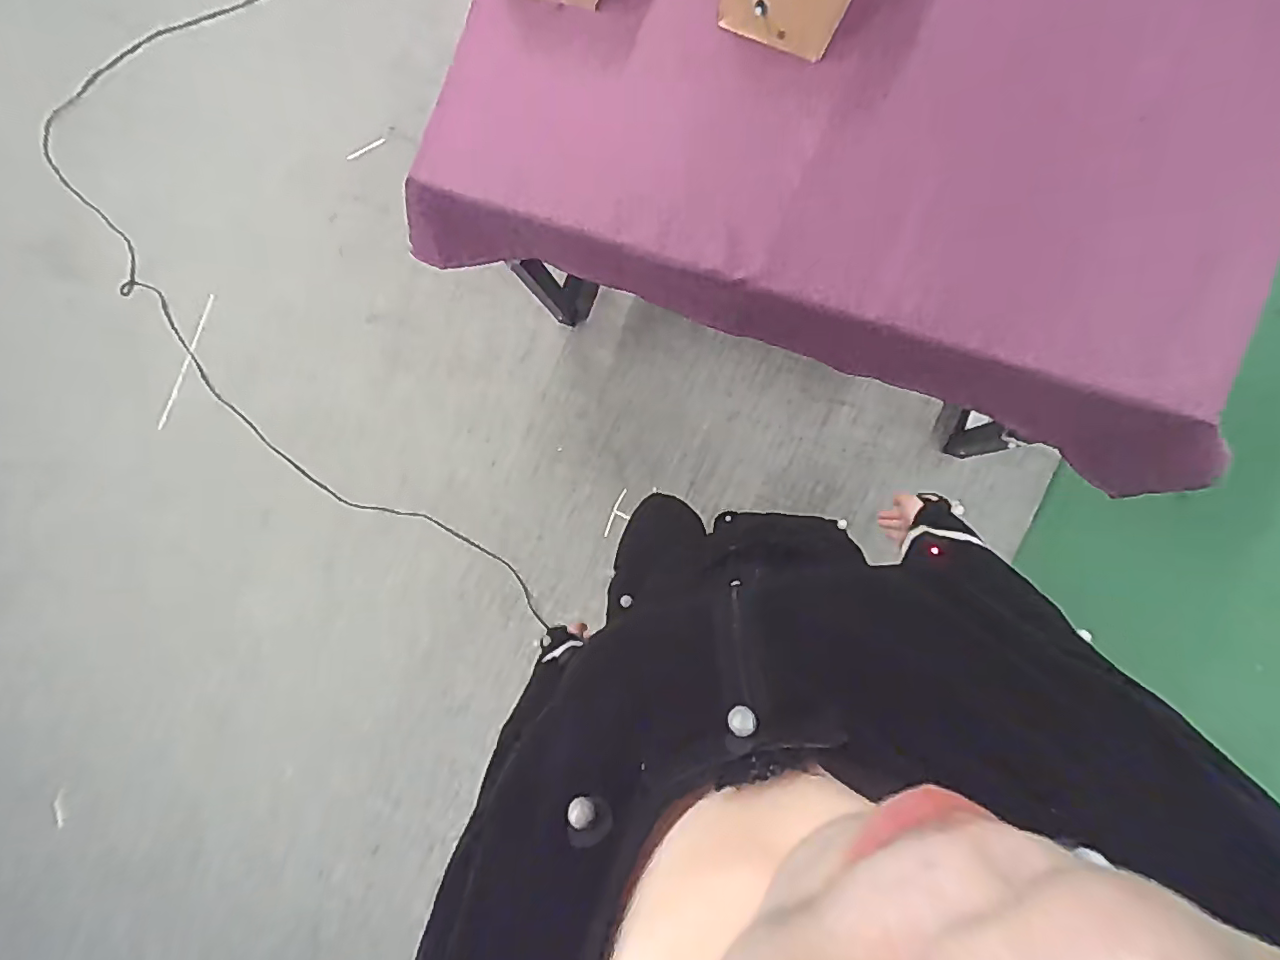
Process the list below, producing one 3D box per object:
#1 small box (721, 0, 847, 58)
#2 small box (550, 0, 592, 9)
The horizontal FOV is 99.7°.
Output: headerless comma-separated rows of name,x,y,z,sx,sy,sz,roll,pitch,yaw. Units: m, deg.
small box,0.212,-0.728,0.718,0.168,0.176,0.179,29,93,9
small box,-0.133,-0.844,0.773,0.168,0.176,0.179,21,91,9
